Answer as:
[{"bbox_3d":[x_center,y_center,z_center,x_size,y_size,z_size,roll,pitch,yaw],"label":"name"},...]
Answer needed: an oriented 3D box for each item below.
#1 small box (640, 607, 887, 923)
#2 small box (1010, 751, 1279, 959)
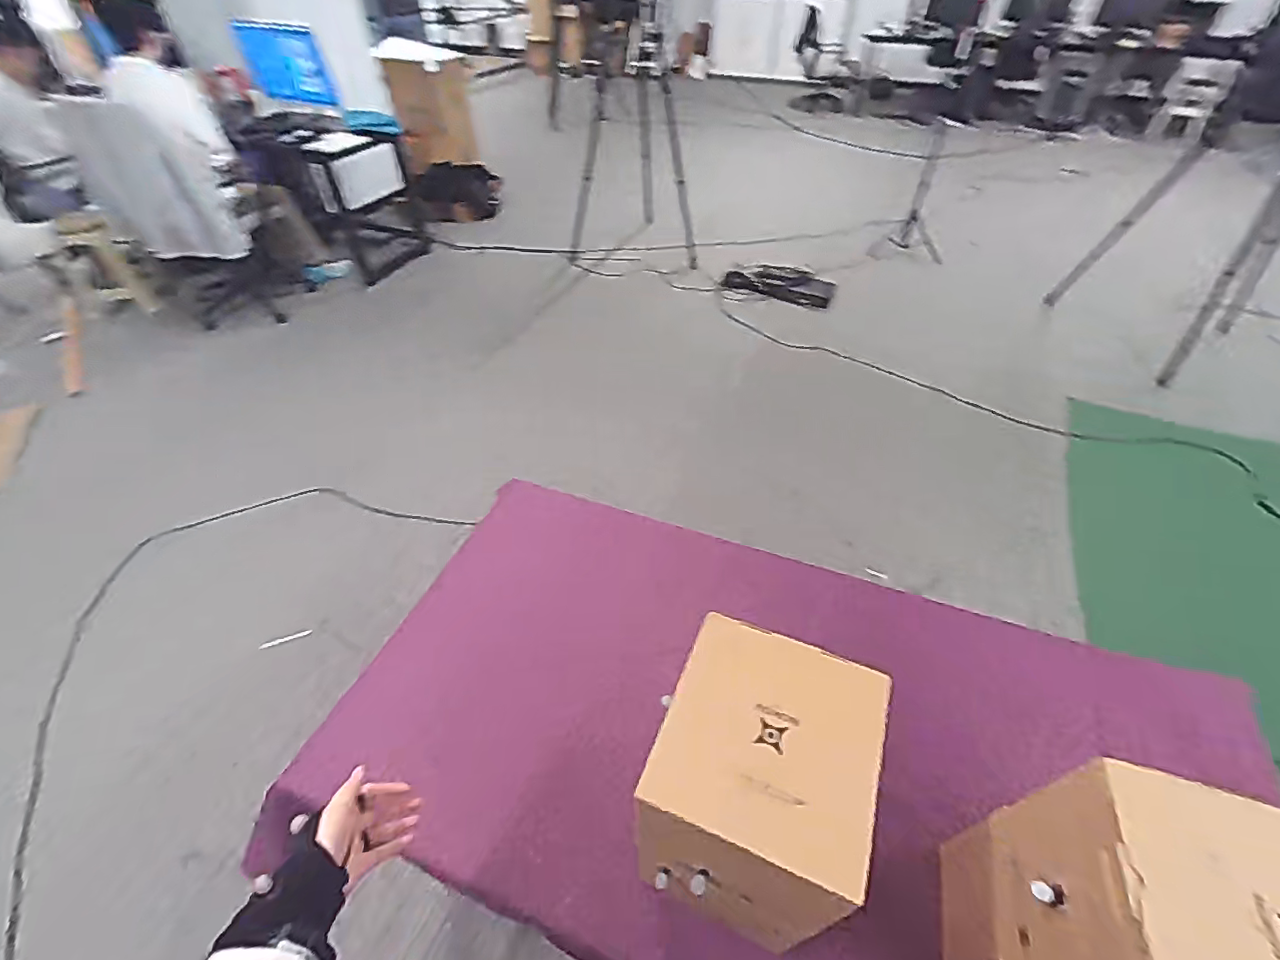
[{"bbox_3d":[0.106,0.256,0.495,0.168,0.176,0.179,17,47,18],"label":"small box"},{"bbox_3d":[0.408,0.341,0.406,0.179,0.176,0.168,13,47,15],"label":"small box"}]
